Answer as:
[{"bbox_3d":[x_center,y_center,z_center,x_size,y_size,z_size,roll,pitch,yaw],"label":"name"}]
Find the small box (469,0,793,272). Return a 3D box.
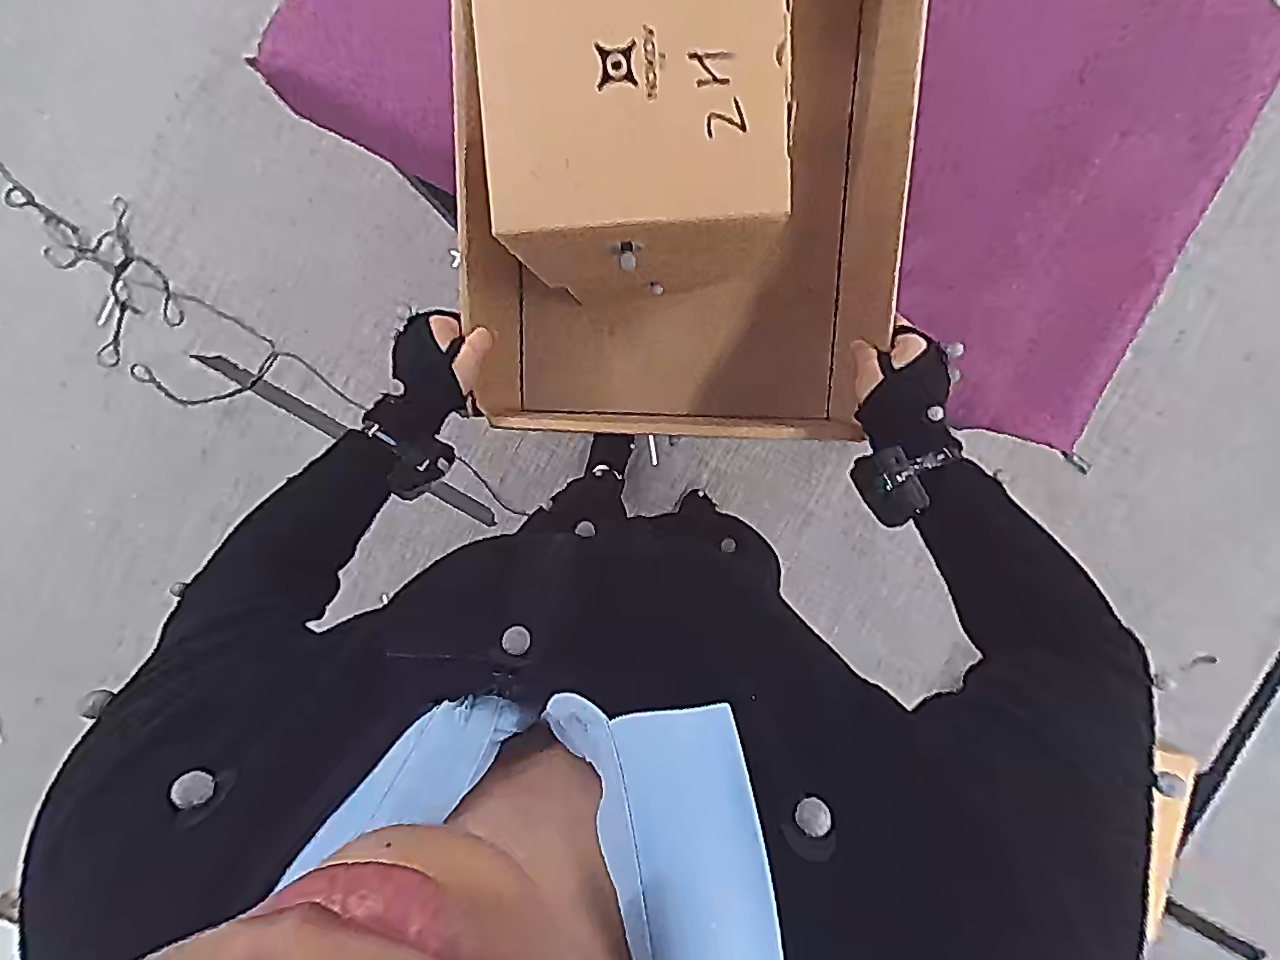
[{"bbox_3d":[-0.001,-0.247,0.371,0.179,0.176,0.168,-2,99,2],"label":"small box"}]
